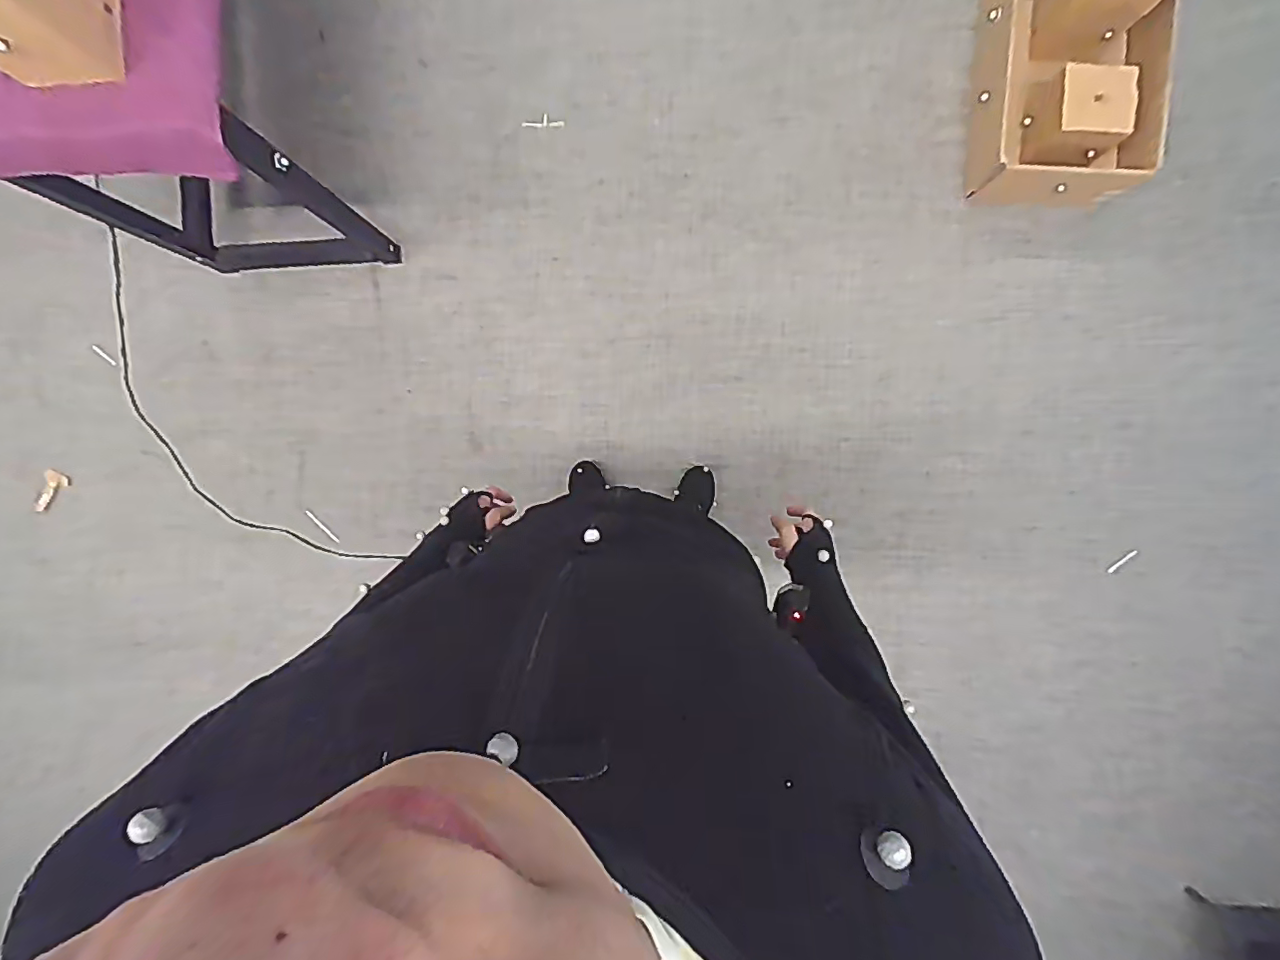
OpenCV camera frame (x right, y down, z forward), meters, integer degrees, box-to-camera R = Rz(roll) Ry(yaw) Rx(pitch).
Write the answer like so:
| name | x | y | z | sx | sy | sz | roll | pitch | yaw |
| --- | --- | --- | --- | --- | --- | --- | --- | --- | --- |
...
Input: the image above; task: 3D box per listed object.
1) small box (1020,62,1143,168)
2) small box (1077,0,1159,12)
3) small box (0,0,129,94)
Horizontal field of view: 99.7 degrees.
| name | x | y | z | sx | sy | sz | roll | pitch | yaw |
| --- | --- | --- | --- | --- | --- | --- | --- | --- | --- |
| small box | 1.137 | -0.937 | 1.403 | 0.179 | 0.176 | 0.168 | 4 | 91 | 3 |
| small box | 1.155 | -1.216 | 1.230 | 0.179 | 0.176 | 0.168 | 4 | 93 | 2 |
| small box | -0.974 | -0.749 | 0.856 | 0.179 | 0.176 | 0.168 | -2 | 92 | 4 |
